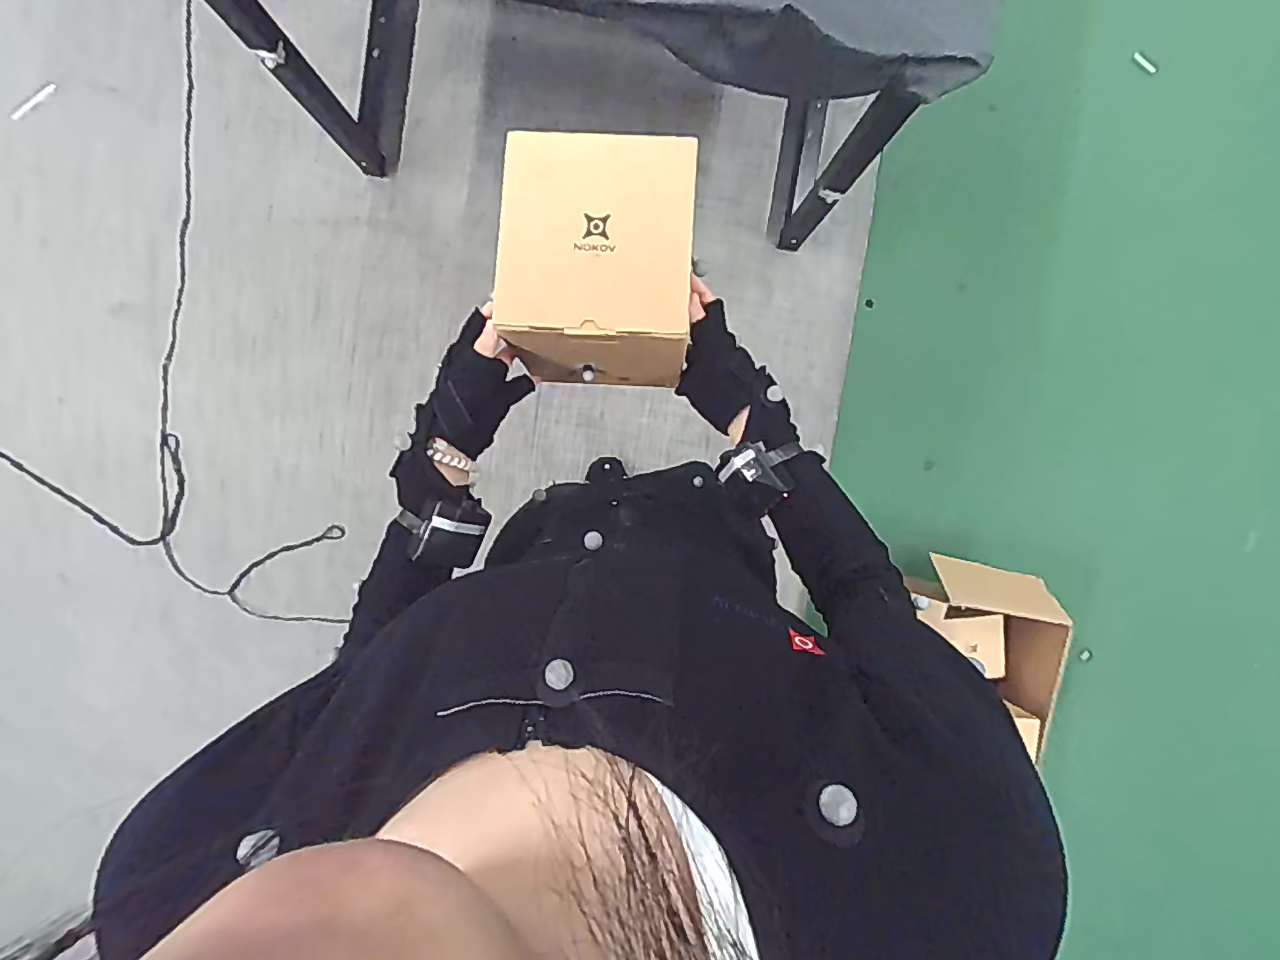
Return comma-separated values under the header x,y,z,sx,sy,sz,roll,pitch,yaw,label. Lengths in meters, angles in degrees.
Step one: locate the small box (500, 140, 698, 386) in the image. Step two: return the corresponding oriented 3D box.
x,y,z,sx,sy,sz,roll,pitch,yaw,label
-0.035,-0.205,0.552,0.168,0.176,0.179,3,87,1,small box
